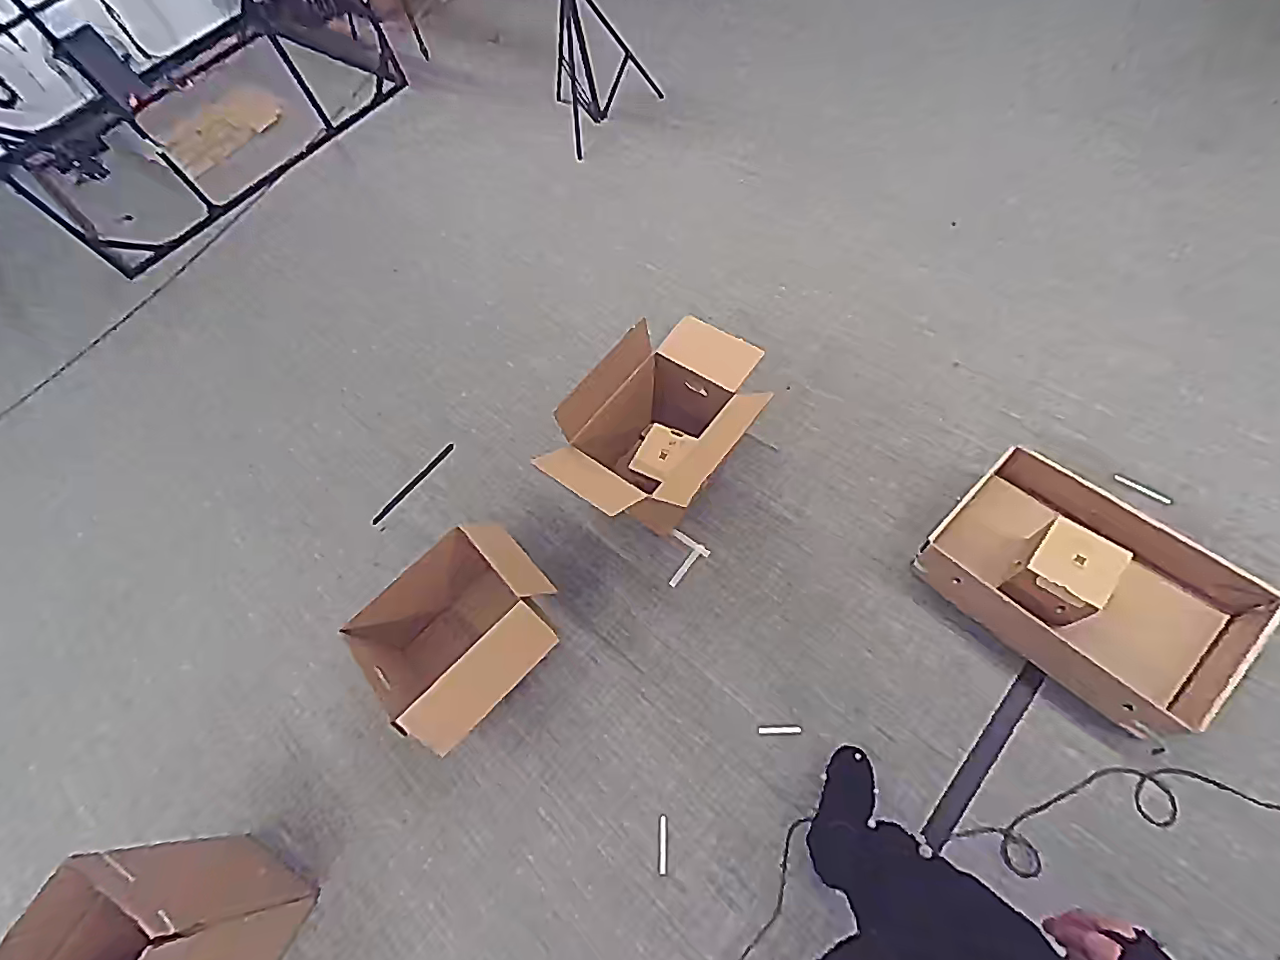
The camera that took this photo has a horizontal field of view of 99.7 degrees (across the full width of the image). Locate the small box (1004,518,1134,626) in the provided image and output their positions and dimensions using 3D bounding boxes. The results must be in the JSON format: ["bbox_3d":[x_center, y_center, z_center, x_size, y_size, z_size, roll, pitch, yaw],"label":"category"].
[{"bbox_3d":[1.033,0.231,1.321,0.168,0.176,0.179,36,74,24],"label":"small box"}]
